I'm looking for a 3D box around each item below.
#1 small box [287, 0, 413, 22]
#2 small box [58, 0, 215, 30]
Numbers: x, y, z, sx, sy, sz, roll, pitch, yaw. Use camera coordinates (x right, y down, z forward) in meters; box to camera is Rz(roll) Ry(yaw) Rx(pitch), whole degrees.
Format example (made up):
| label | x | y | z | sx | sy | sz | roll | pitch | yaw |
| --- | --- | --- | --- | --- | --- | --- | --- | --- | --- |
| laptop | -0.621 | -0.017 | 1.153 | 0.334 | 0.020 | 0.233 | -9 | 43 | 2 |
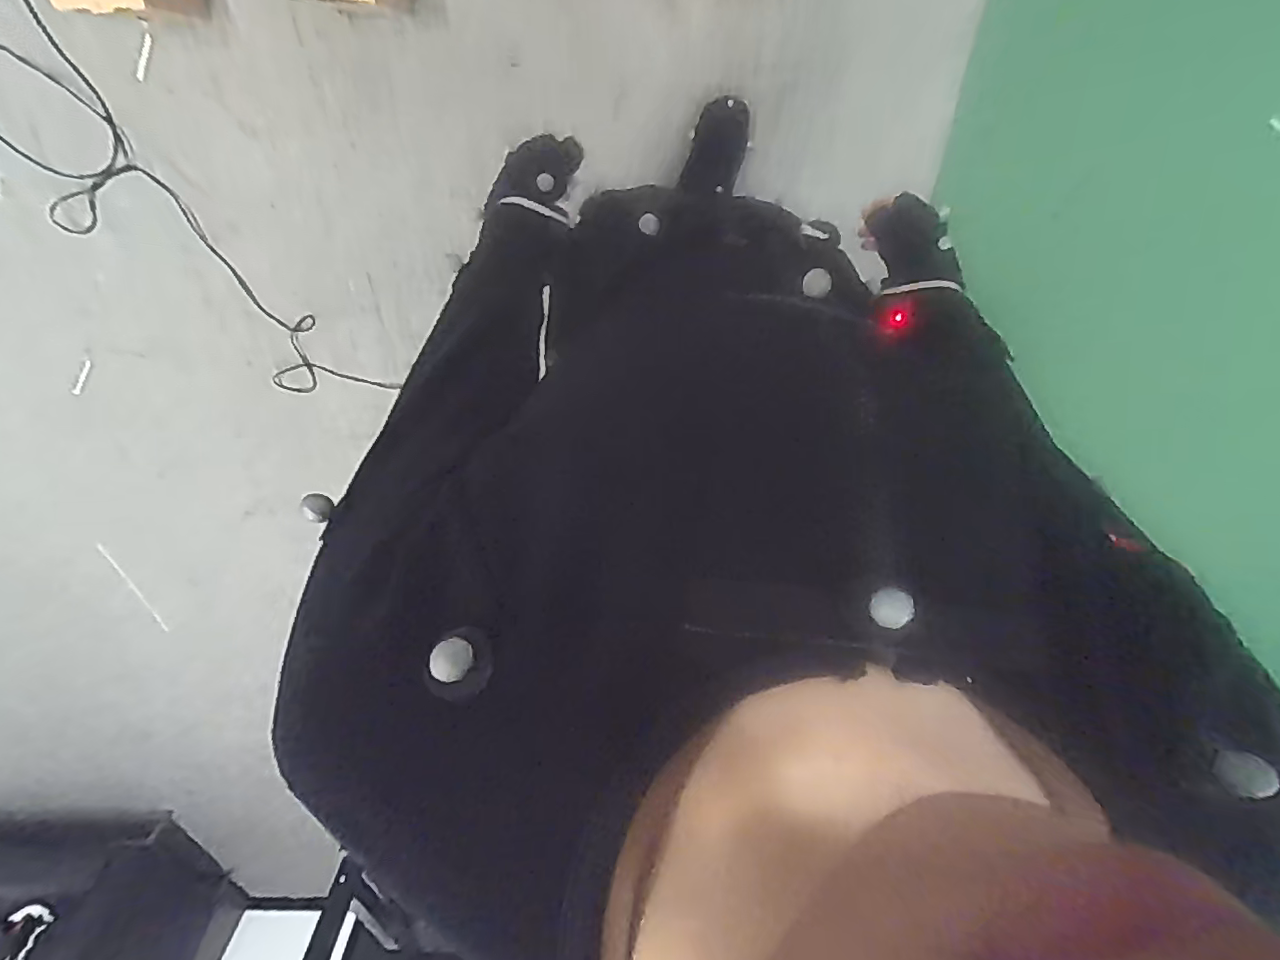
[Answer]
| label | x | y | z | sx | sy | sz | roll | pitch | yaw |
| --- | --- | --- | --- | --- | --- | --- | --- | --- | --- |
| small box | -0.517 | -0.928 | 0.945 | 0.168 | 0.176 | 0.179 | 4 | 124 | -1 |
| small box | -0.920 | -0.925 | 0.960 | 0.168 | 0.176 | 0.179 | 0 | 125 | 2 |
